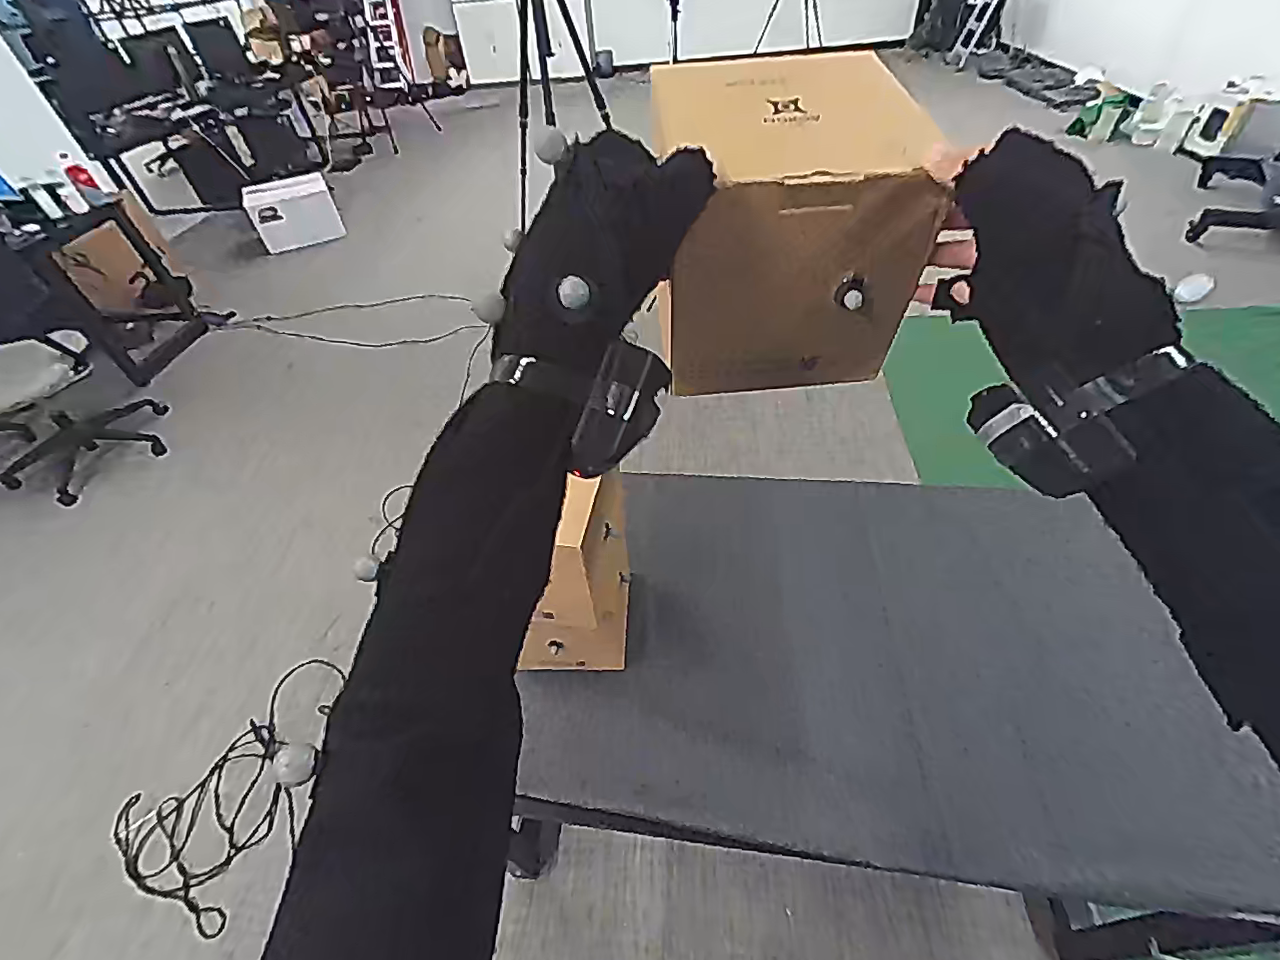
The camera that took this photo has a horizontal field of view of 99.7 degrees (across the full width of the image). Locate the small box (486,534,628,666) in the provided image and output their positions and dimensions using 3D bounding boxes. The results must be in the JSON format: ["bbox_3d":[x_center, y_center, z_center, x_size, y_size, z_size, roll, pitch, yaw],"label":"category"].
[{"bbox_3d":[-0.108,0.158,0.793,0.168,0.176,0.179,0,45,4],"label":"small box"}]

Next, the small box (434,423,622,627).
[{"bbox_3d":[-0.119,0.054,0.665,0.168,0.176,0.179,5,47,9],"label":"small box"}]
